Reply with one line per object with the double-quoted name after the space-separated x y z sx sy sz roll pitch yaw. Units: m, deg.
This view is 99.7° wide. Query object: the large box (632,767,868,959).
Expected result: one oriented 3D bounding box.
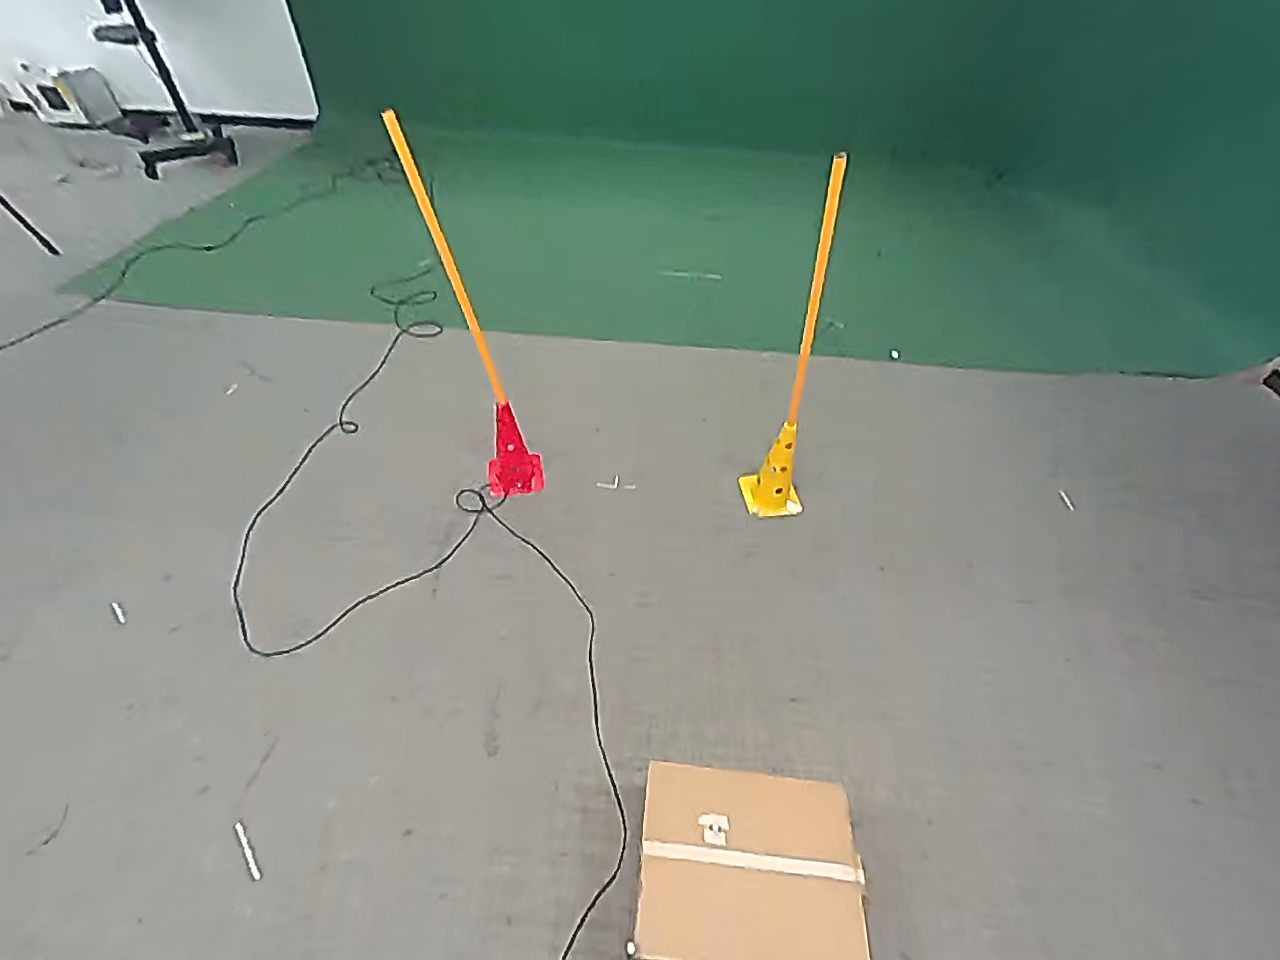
0.199 0.821 1.115 0.408 0.320 0.320 5 45 3 "large box"
